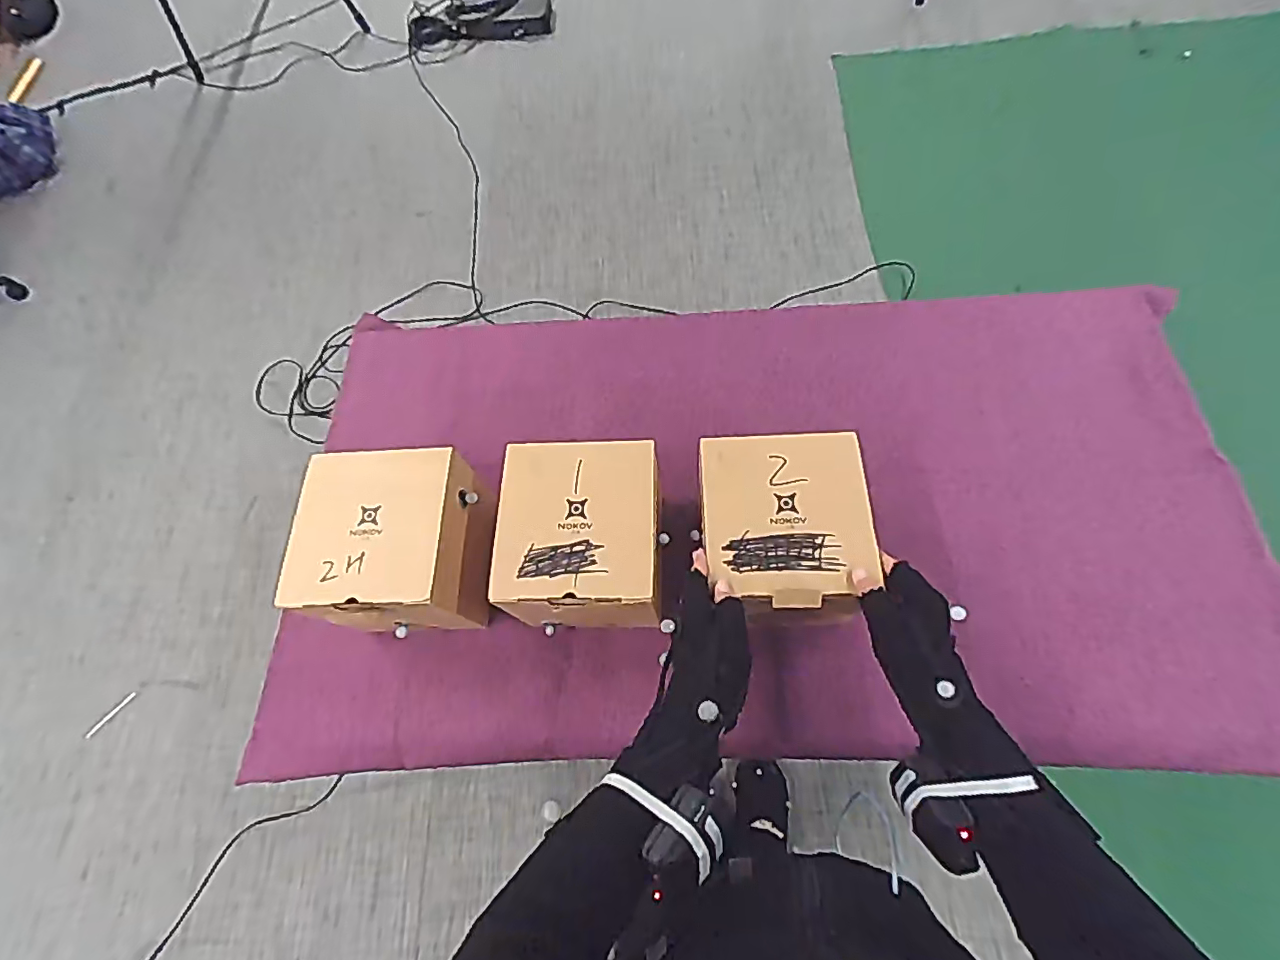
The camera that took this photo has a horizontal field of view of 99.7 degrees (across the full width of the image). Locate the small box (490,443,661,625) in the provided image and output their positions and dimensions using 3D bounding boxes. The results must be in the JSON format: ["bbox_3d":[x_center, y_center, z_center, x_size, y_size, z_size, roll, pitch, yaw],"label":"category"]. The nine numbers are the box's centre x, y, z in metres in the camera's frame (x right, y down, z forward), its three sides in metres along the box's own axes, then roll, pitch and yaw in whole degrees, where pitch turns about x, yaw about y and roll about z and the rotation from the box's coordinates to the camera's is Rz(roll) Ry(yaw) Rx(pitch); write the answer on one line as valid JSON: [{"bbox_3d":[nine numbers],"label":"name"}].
[{"bbox_3d":[-0.061,0.073,0.638,0.168,0.176,0.179,-1,66,5],"label":"small box"}]

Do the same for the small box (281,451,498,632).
[{"bbox_3d":[-0.281,0.081,0.653,0.168,0.176,0.179,-3,66,5],"label":"small box"}]
